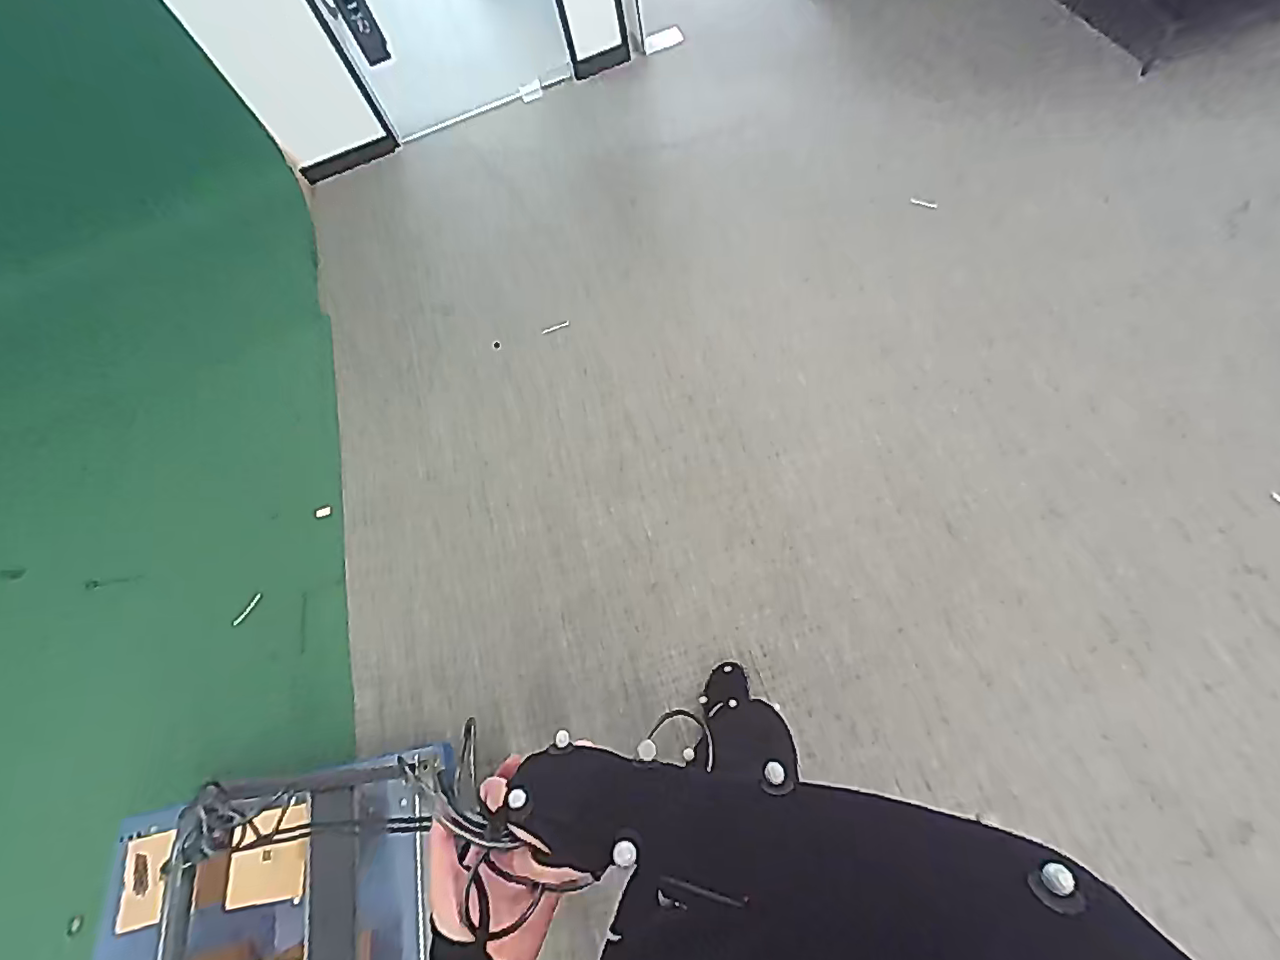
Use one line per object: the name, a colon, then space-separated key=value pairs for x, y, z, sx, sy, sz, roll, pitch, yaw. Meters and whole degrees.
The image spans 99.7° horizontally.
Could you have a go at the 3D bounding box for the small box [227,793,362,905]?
small box: x=-0.749 y=0.803 z=1.190 sx=0.179 sy=0.176 sz=0.168 roll=-13 pitch=65 yaw=4

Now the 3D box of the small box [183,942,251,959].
small box: x=-0.936 y=1.084 z=1.099 sx=0.179 sy=0.176 sz=0.168 roll=-18 pitch=64 yaw=2

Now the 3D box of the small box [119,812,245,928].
small box: x=-0.988 y=0.859 z=1.209 sx=0.179 sy=0.176 sz=0.168 roll=-16 pitch=65 yaw=2
